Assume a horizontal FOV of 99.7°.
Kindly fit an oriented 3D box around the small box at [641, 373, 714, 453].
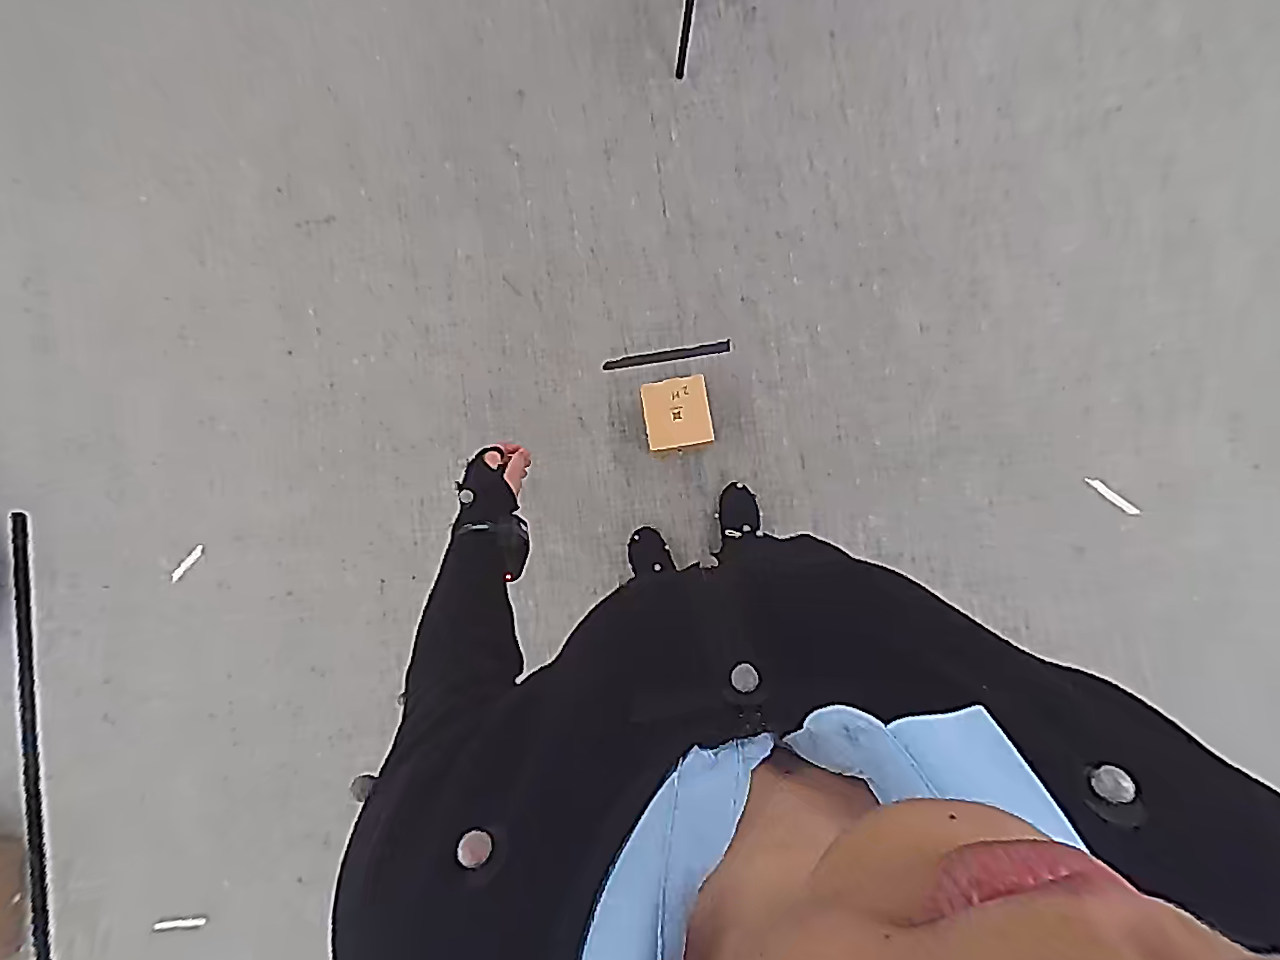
[{"bbox_3d":[0.100,-0.169,1.435,0.168,0.176,0.179,-9,86,3],"label":"small box"}]
